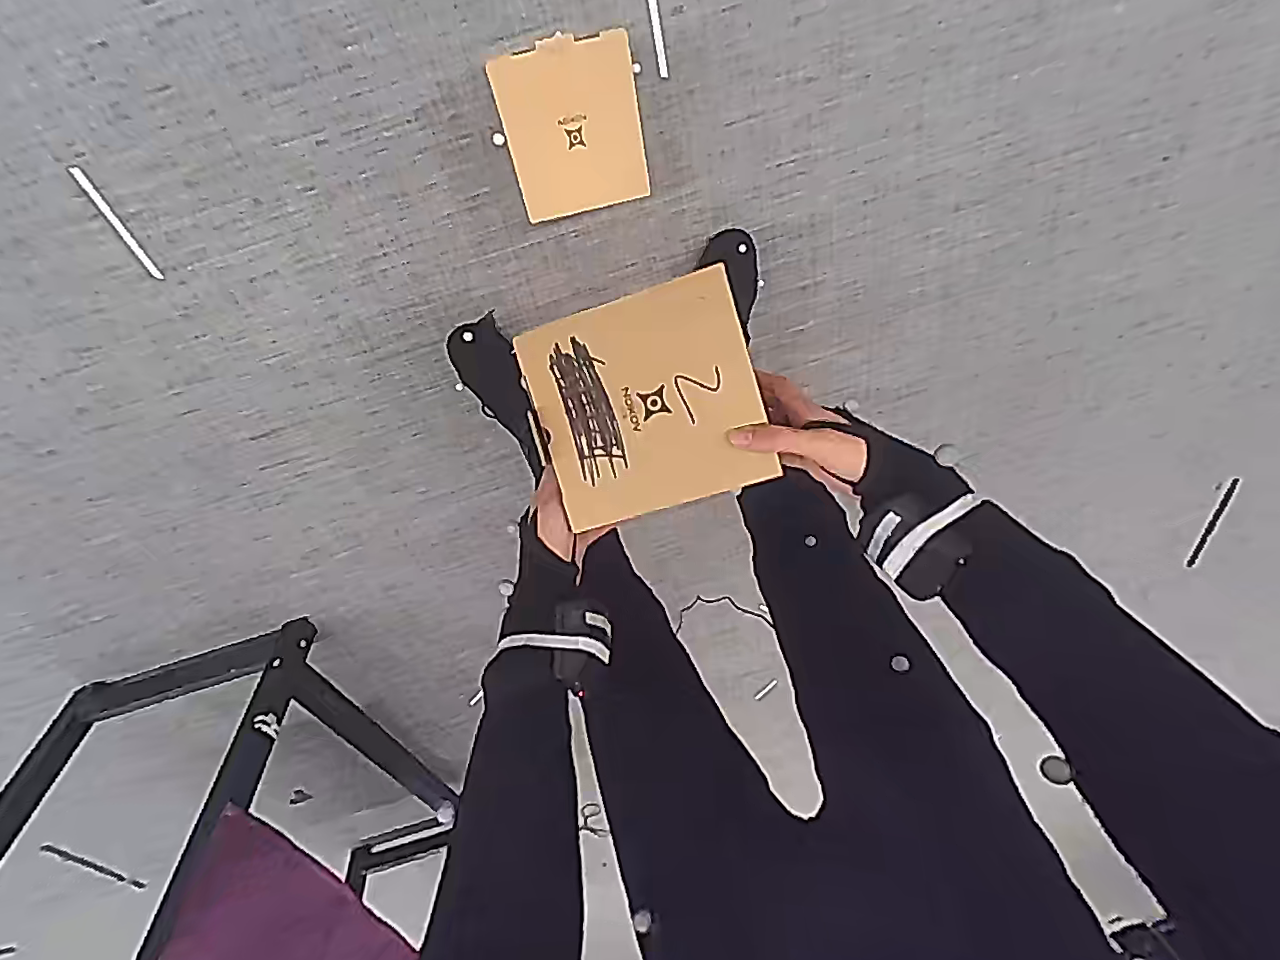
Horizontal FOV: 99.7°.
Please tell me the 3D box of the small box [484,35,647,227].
[{"bbox_3d":[-0.094,-0.463,0.719,0.168,0.176,0.179,-14,127,-2],"label":"small box"}]
